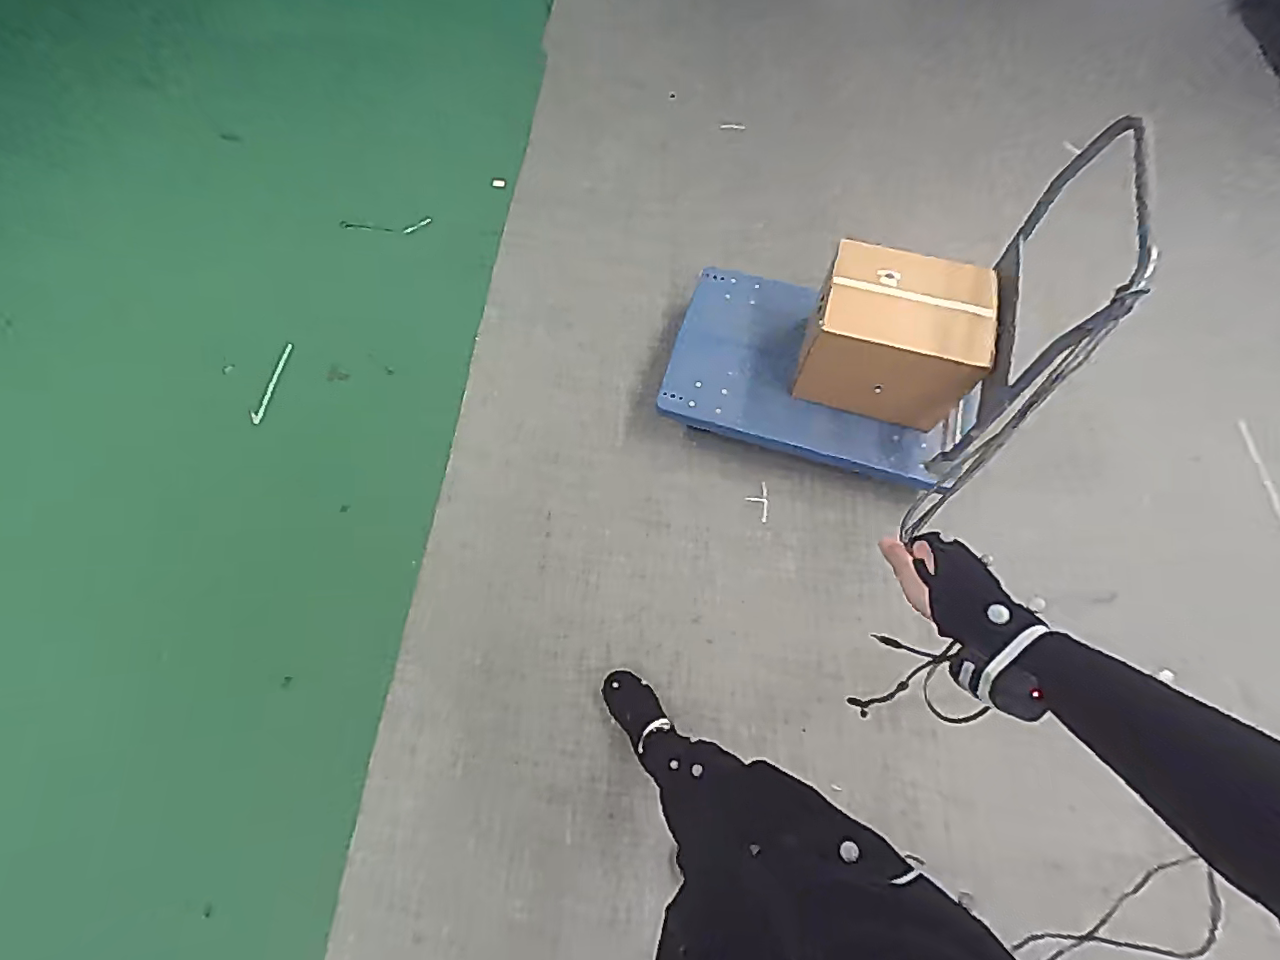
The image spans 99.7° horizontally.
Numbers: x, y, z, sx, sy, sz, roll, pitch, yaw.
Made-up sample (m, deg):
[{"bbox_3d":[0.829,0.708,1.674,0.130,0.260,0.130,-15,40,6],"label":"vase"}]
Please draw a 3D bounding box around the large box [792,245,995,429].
[{"bbox_3d":[0.669,-0.376,1.467,0.408,0.320,0.320,15,67,9],"label":"large box"}]
